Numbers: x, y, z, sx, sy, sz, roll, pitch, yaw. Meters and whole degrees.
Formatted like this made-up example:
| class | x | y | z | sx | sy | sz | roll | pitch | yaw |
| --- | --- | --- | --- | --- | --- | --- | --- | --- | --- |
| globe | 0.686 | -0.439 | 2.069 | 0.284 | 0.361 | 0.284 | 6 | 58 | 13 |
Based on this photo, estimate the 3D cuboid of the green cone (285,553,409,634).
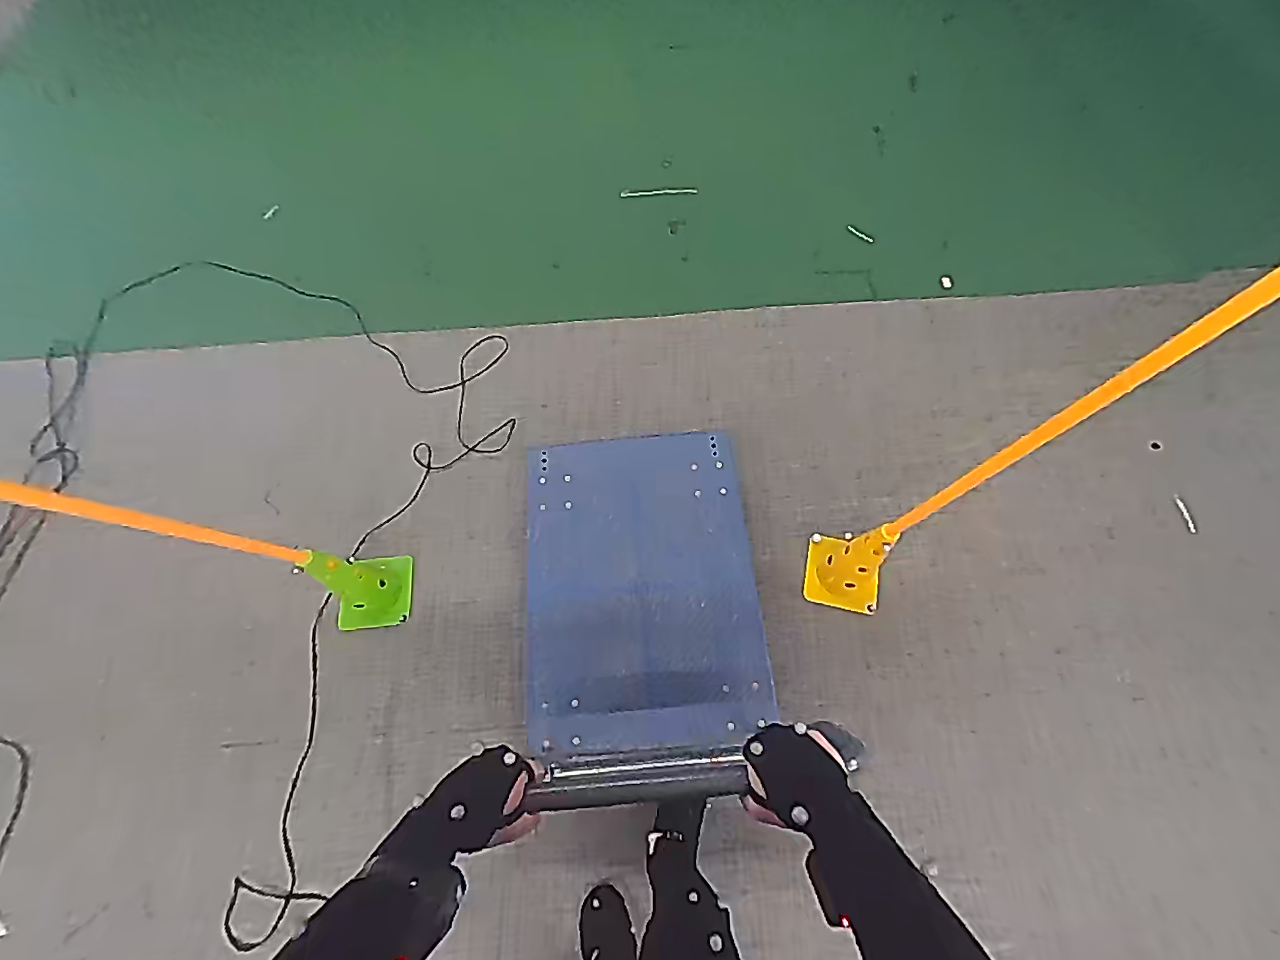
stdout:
| class | x | y | z | sx | sy | sz | roll | pitch | yaw |
| --- | --- | --- | --- | --- | --- | --- | --- | --- | --- |
| green cone | -0.769 | 0.254 | 1.383 | 0.202 | 0.368 | 0.200 | -8 | 65 | 0 |
